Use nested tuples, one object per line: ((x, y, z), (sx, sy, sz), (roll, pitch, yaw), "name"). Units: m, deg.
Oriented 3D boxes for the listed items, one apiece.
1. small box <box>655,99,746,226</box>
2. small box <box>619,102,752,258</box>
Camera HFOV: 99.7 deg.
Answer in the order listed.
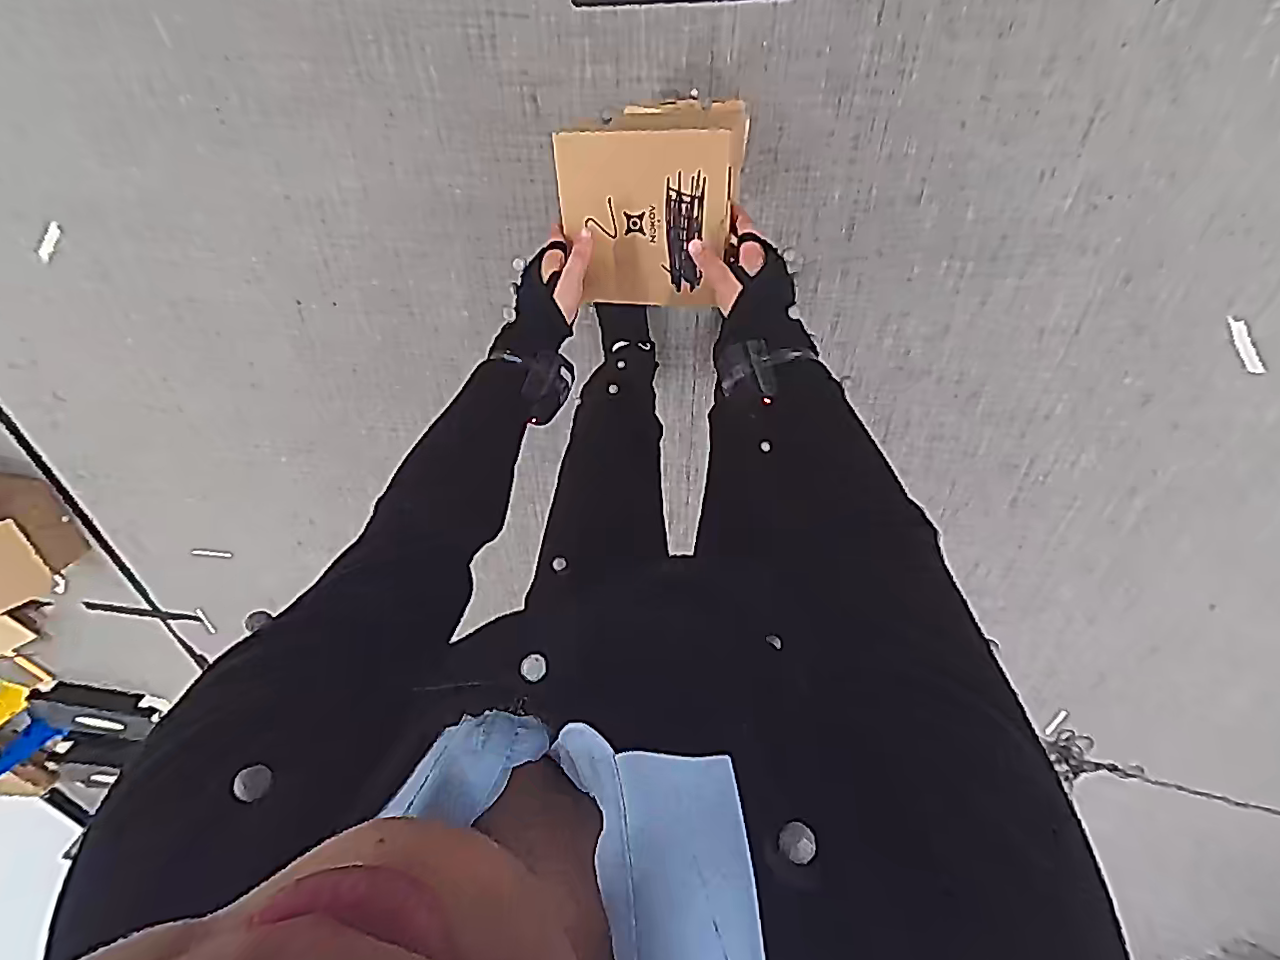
((0.092, -0.549, 0.935), (0.168, 0.176, 0.179), (3, 125, 7), "small box")
((0.065, -0.452, 0.807), (0.168, 0.176, 0.179), (8, 127, 3), "small box")
